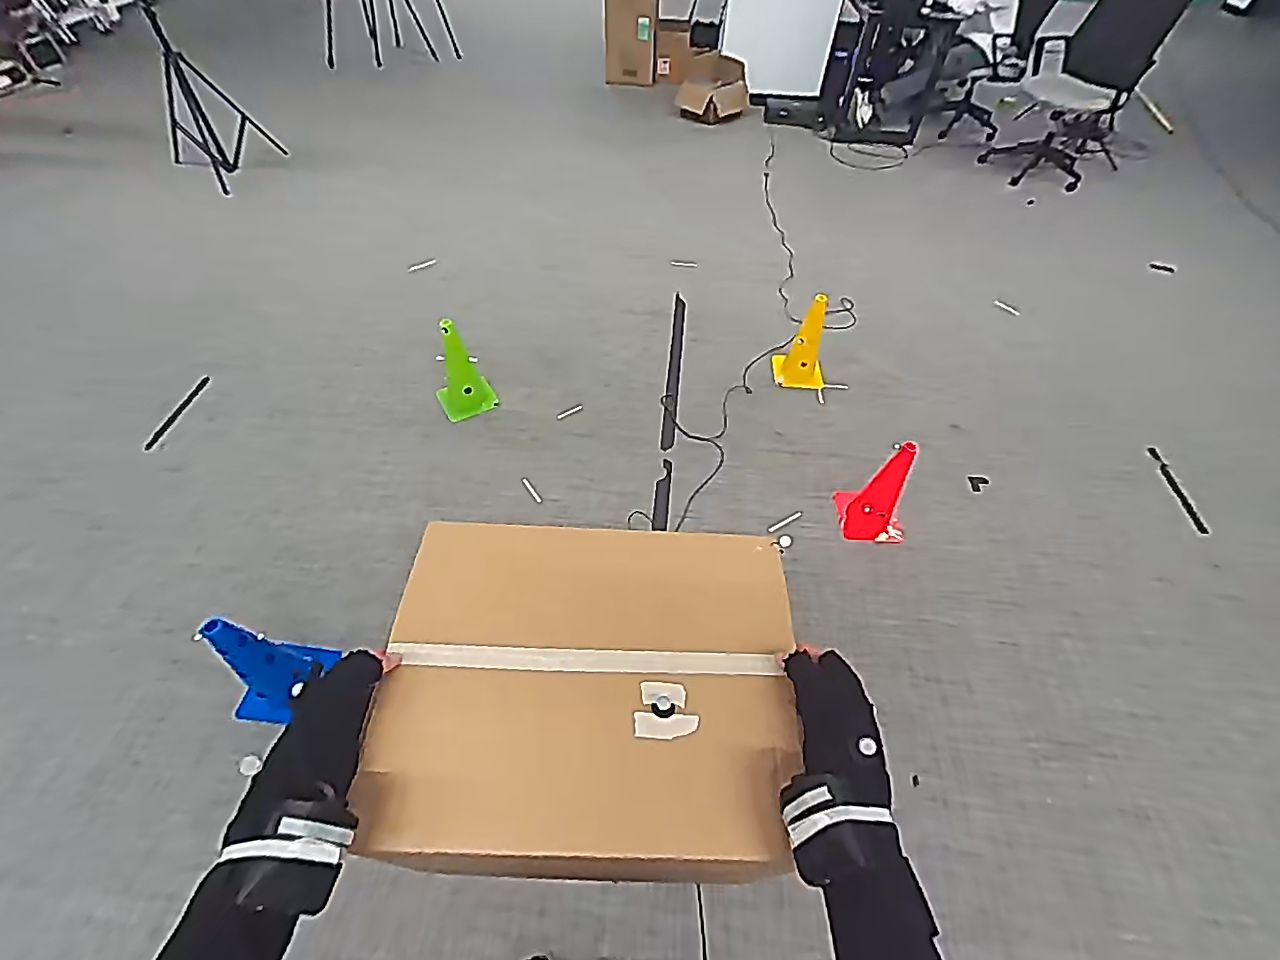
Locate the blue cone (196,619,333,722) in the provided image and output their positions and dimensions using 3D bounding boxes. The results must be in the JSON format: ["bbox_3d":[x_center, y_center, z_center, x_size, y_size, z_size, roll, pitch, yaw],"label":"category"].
[{"bbox_3d":[-0.925,0.432,1.301,0.192,0.380,0.193,7,51,5],"label":"blue cone"}]

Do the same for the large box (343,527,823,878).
[{"bbox_3d":[-0.052,0.275,0.649,0.408,0.320,0.320,3,51,-2],"label":"large box"}]

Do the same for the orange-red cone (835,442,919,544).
[{"bbox_3d":[0.773,0.016,1.685,0.198,0.360,0.199,4,49,0],"label":"orange-red cone"}]

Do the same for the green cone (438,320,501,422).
[{"bbox_3d":[-0.668,-0.428,1.990,0.202,0.368,0.200,-26,56,-20],"label":"green cone"}]
